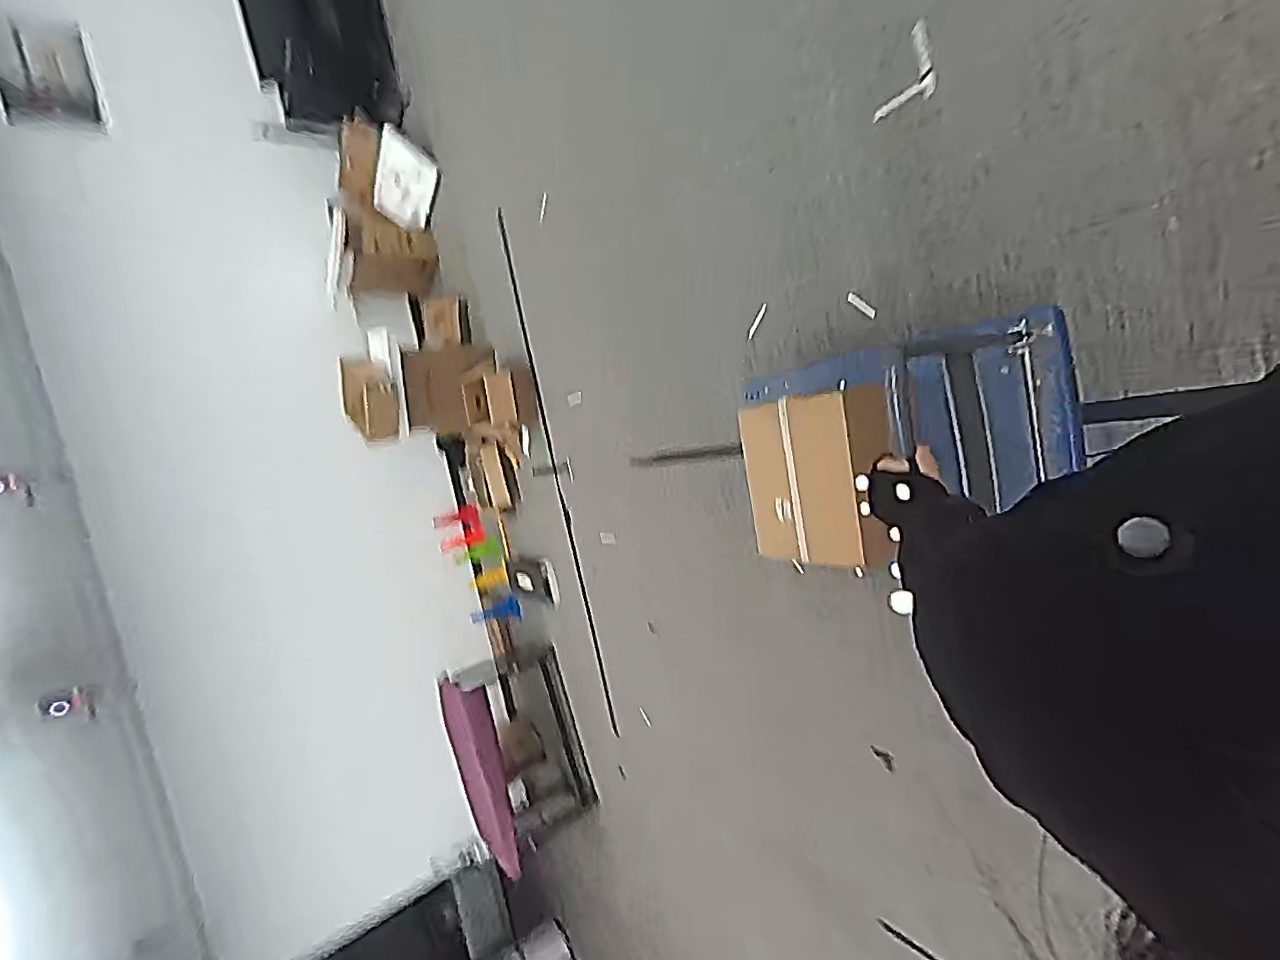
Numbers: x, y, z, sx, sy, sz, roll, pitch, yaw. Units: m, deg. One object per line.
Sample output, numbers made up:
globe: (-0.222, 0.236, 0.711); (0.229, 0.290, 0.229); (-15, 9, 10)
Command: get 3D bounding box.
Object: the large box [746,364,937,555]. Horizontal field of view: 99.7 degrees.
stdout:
large box: (0.517, -0.057, 1.384); (0.320, 0.320, 0.408); (0, 103, 55)
